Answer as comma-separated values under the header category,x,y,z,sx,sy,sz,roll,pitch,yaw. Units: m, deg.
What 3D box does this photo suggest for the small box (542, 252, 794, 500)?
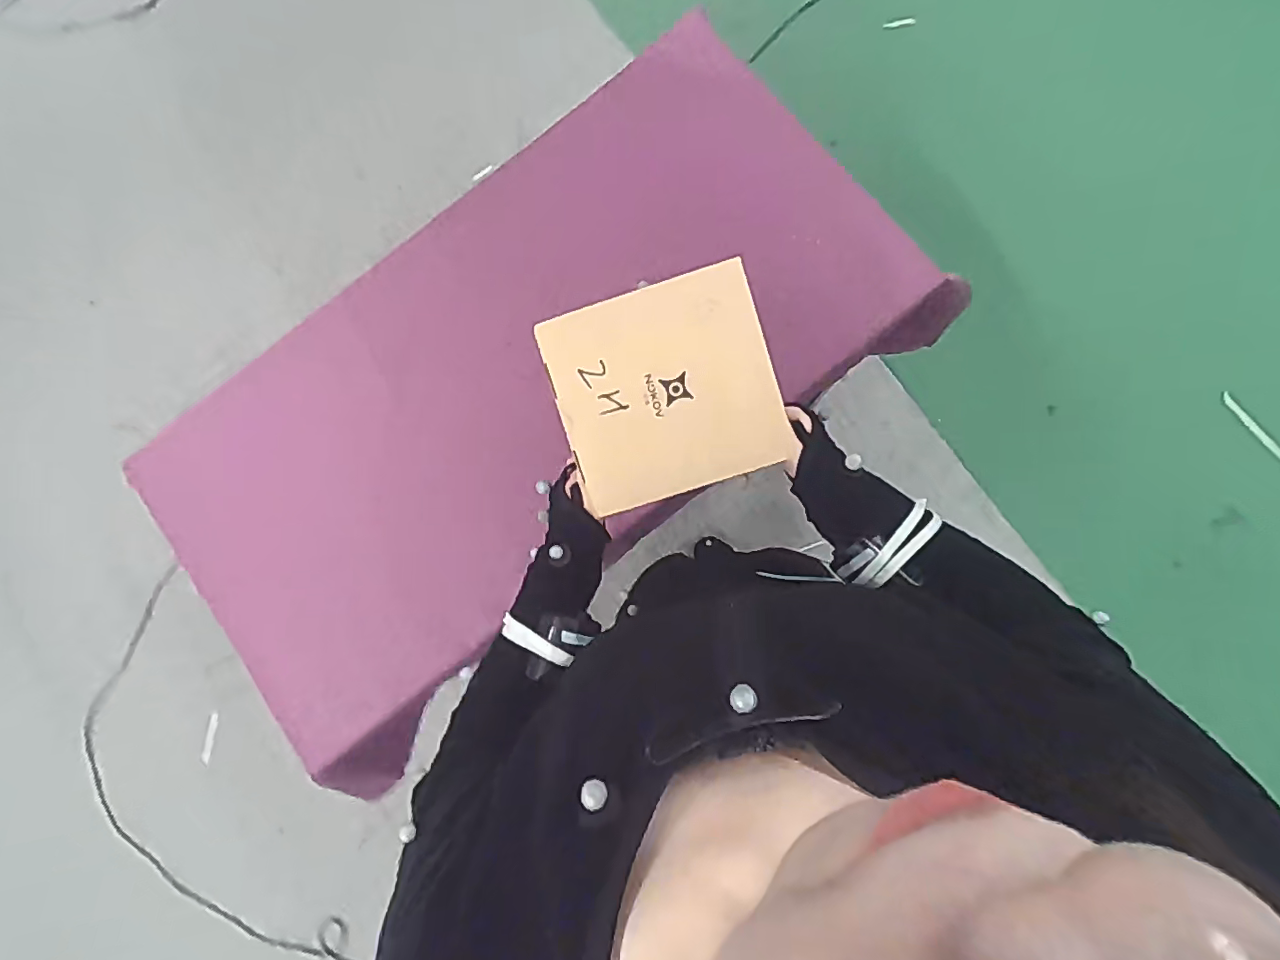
category,x,y,z,sx,sy,sz,roll,pitch,yaw
small box,0.025,-0.090,0.517,0.179,0.176,0.168,-15,95,3
